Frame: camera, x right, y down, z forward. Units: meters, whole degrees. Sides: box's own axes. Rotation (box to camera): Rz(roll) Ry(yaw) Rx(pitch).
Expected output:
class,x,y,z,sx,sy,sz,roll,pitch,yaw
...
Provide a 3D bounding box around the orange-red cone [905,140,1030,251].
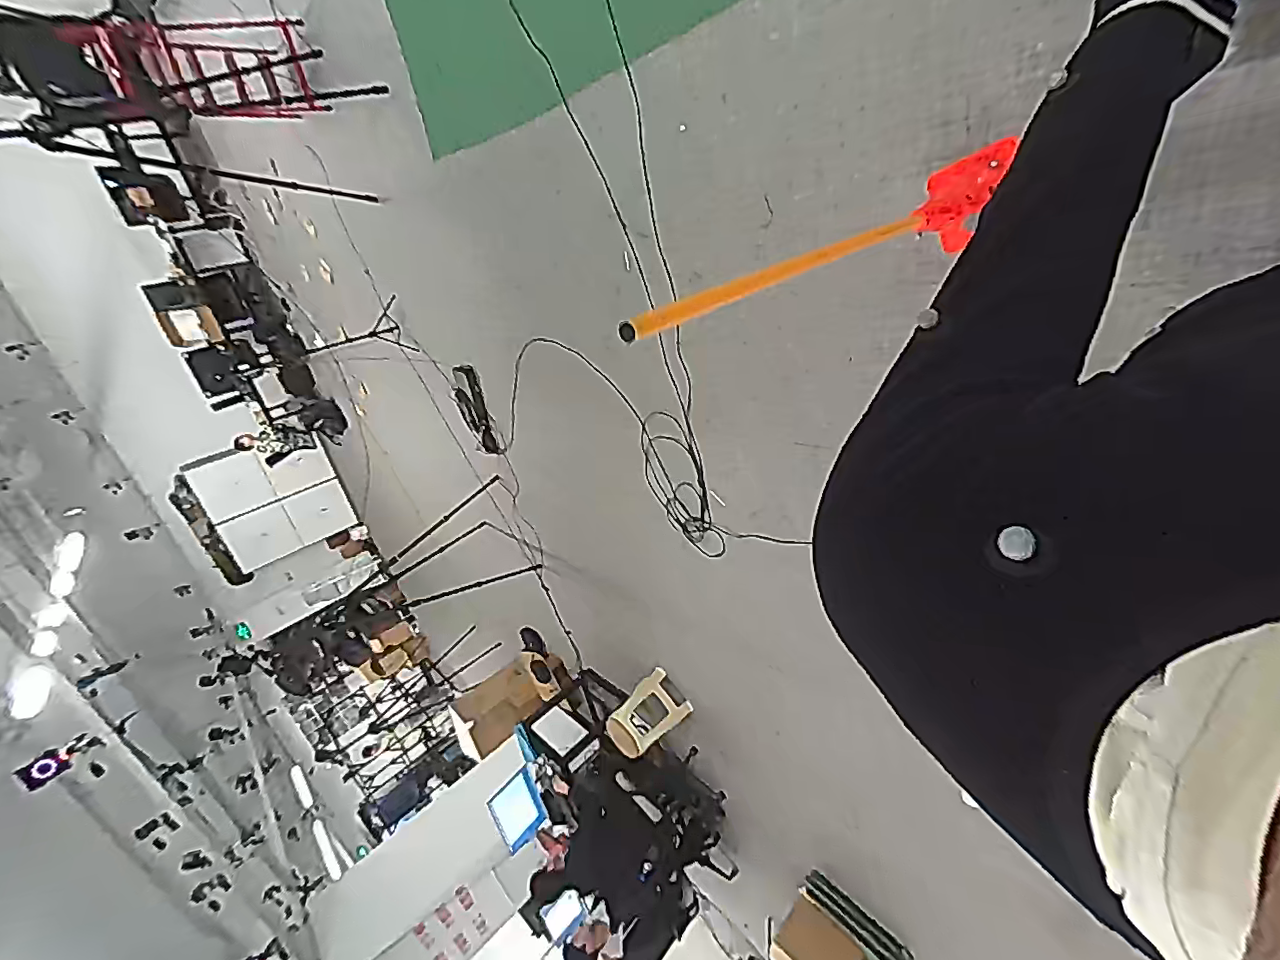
class,x,y,z,sx,sy,sz,roll,pitch,yaw
orange-red cone,0.689,-0.605,1.207,0.199,0.360,0.198,-3,112,54
